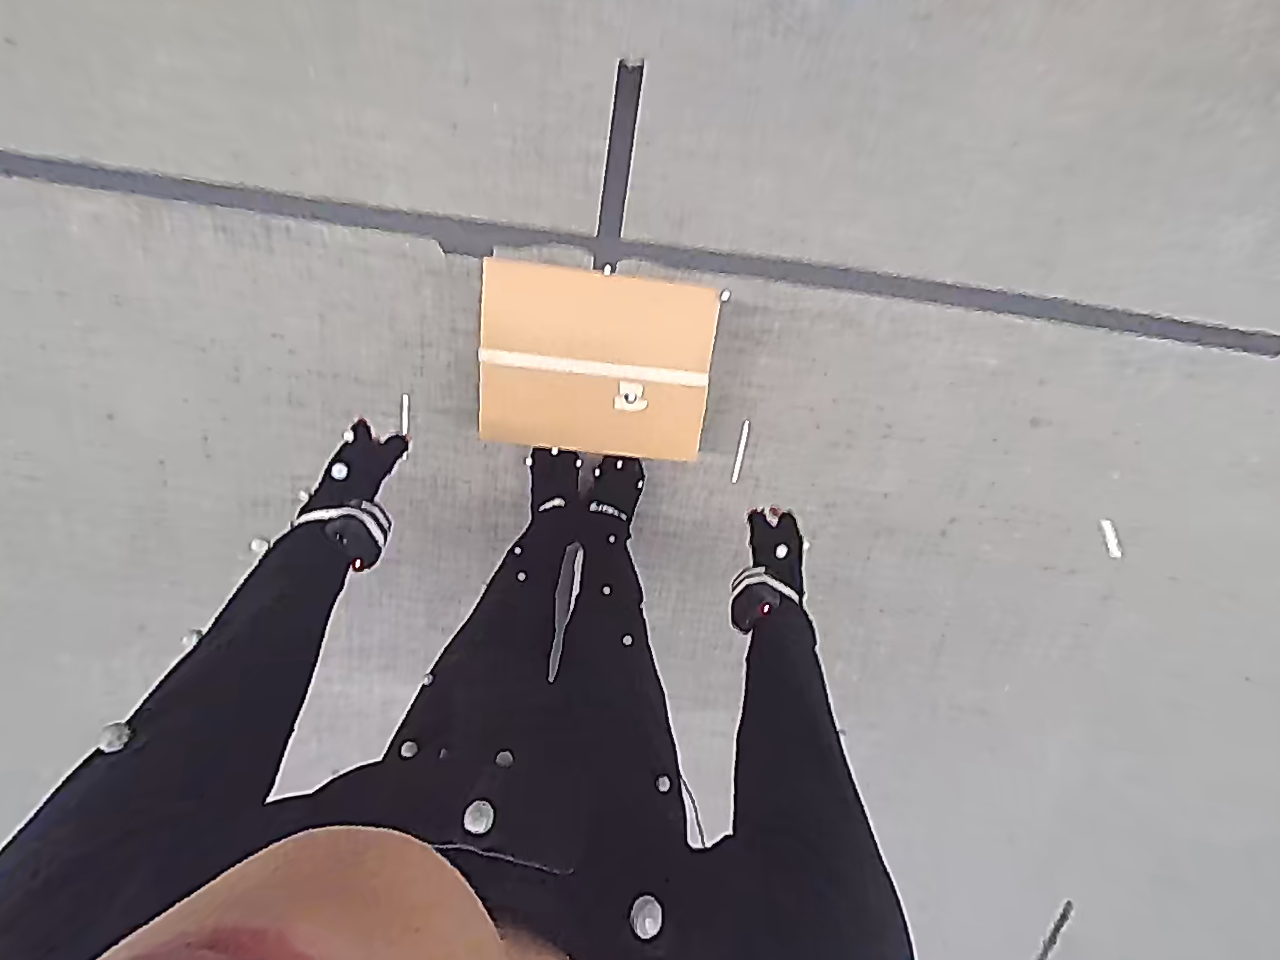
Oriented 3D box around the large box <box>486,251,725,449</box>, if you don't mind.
[{"bbox_3d":[-0.076,-0.263,1.088,0.408,0.320,0.320,5,109,-5],"label":"large box"}]
